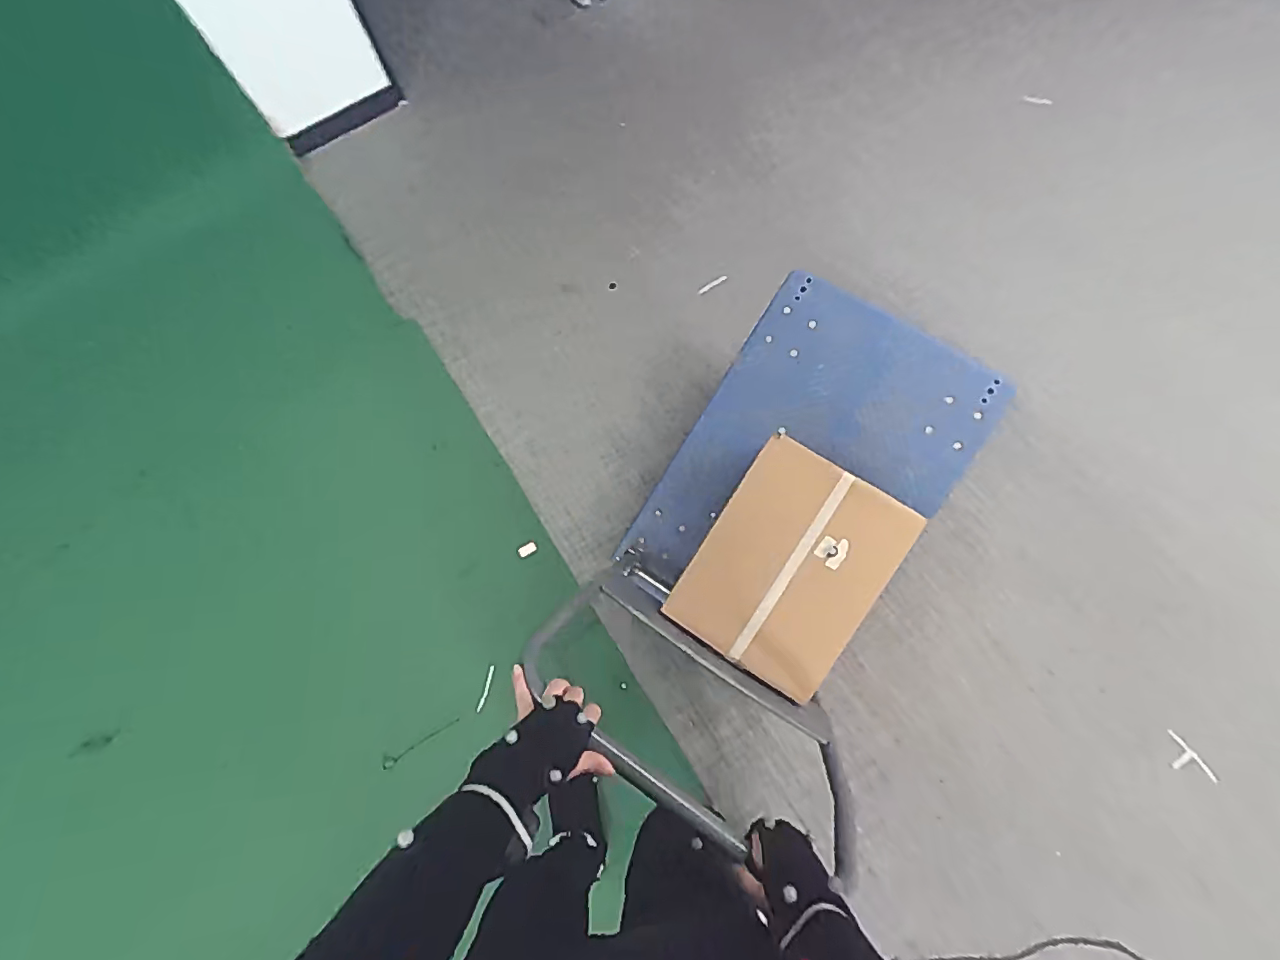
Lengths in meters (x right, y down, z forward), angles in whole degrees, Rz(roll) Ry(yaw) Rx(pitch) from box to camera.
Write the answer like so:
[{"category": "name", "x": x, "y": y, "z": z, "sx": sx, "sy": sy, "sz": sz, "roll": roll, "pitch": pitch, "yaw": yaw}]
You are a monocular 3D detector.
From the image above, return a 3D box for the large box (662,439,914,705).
[{"category": "large box", "x": 0.293, "y": 0.178, "z": 1.153, "sx": 0.320, "sy": 0.320, "sz": 0.408, "roll": 33, "pitch": 93, "yaw": 9}]
